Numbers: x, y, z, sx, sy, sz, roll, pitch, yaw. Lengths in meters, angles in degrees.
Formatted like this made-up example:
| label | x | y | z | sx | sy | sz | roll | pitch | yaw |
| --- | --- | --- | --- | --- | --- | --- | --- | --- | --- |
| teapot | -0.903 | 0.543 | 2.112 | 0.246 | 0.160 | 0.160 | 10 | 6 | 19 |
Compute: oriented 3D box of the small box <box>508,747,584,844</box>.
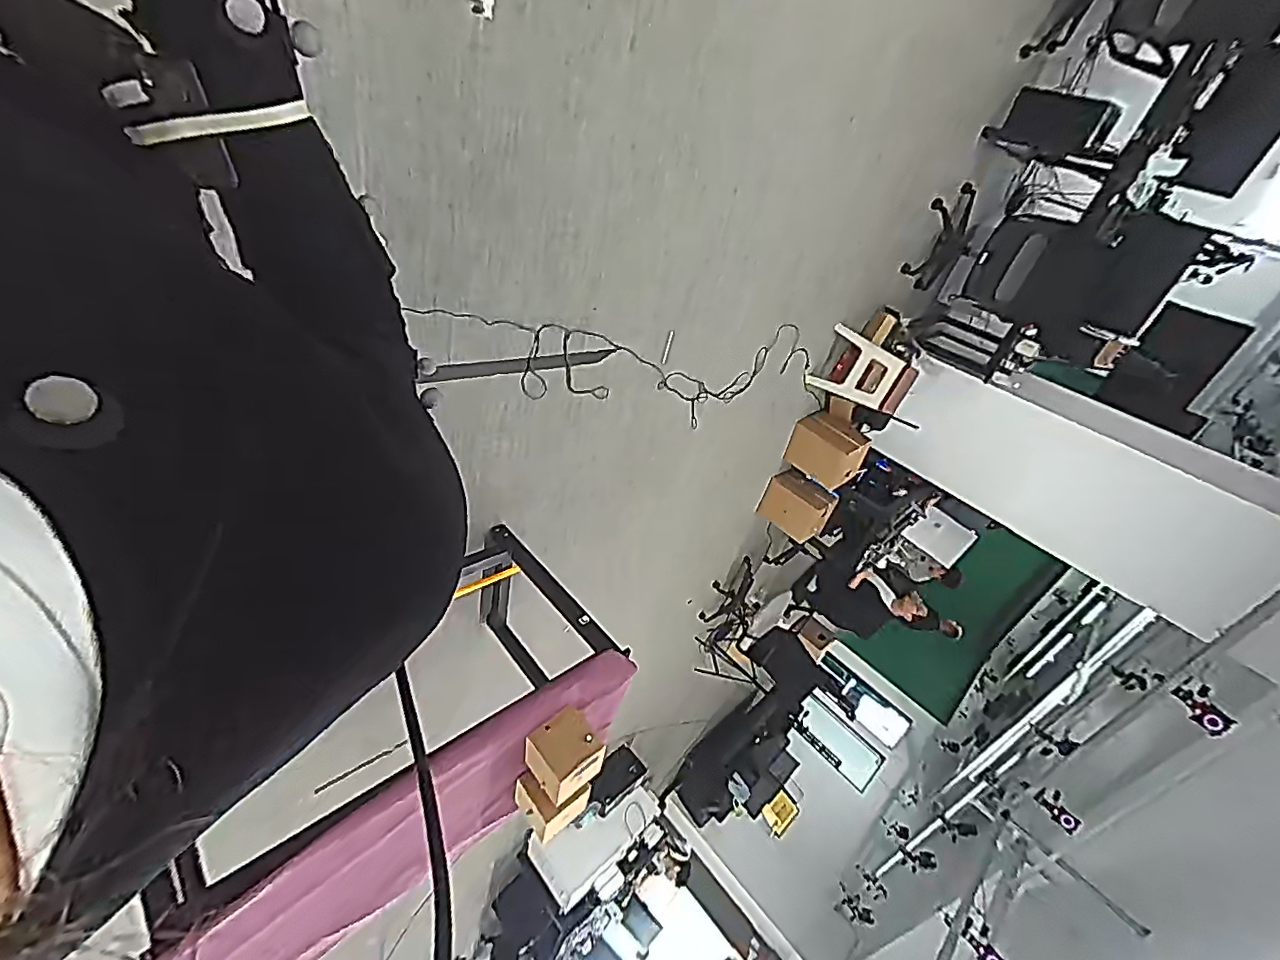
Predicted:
| label | x | y | z | sx | sy | sz | roll | pitch | yaw |
| --- | --- | --- | --- | --- | --- | --- | --- | --- | --- |
| small box | -0.308 | 1.010 | 1.740 | 0.179 | 0.176 | 0.168 | -23 | 140 | -39 |
